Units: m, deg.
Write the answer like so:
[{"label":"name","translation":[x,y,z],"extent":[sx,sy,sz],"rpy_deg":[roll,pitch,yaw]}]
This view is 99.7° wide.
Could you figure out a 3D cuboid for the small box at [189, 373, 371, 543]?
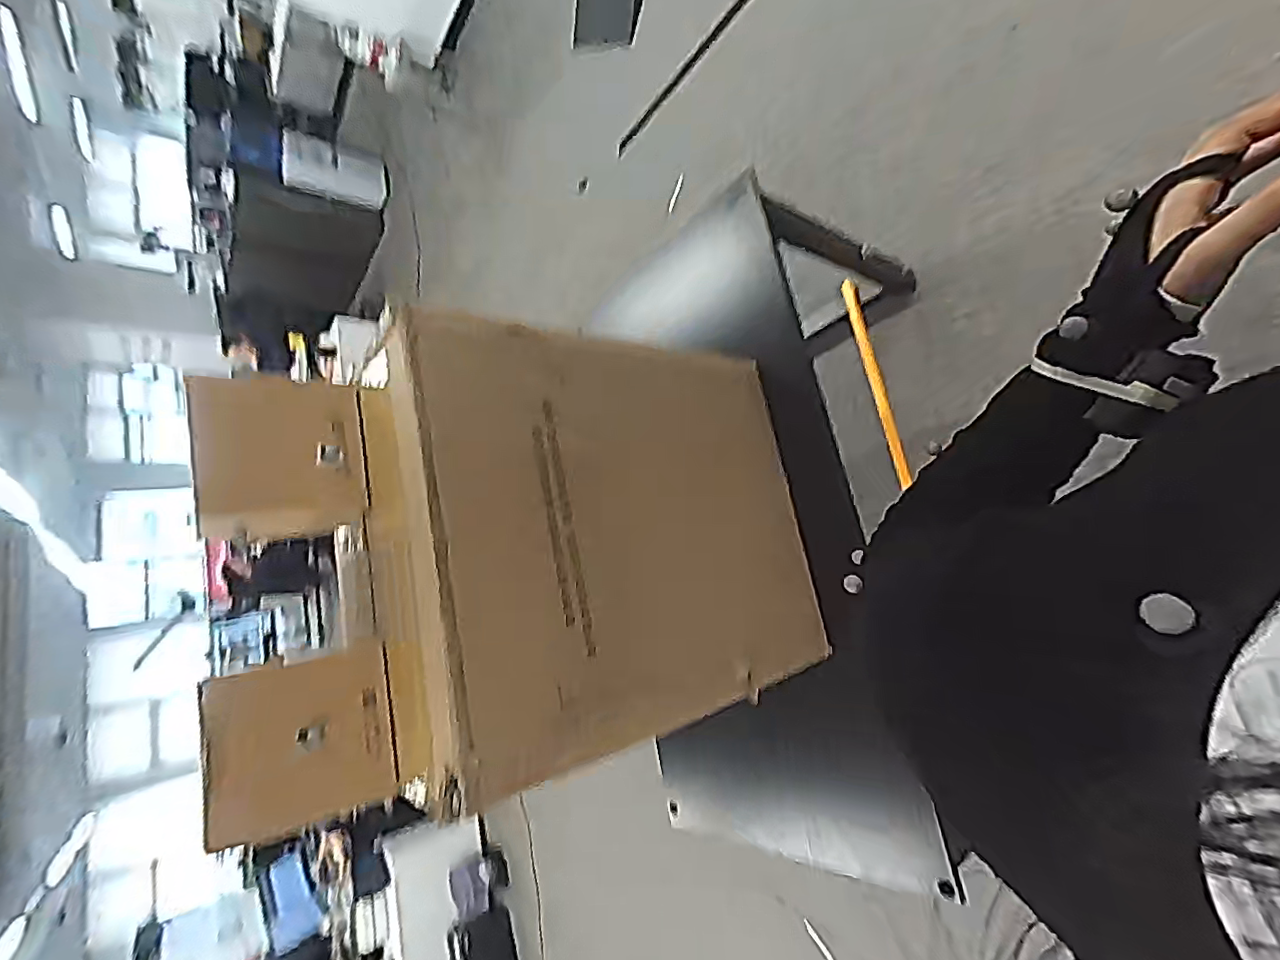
[{"label":"small box","translation":[-0.451,-0.022,0.681],"extent":[0.179,0.176,0.168],"rpy_deg":[-22,77,49]}]

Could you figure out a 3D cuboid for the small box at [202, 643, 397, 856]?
[{"label":"small box","translation":[-0.389,0.294,0.621],"extent":[0.179,0.176,0.168],"rpy_deg":[-31,67,46]}]
